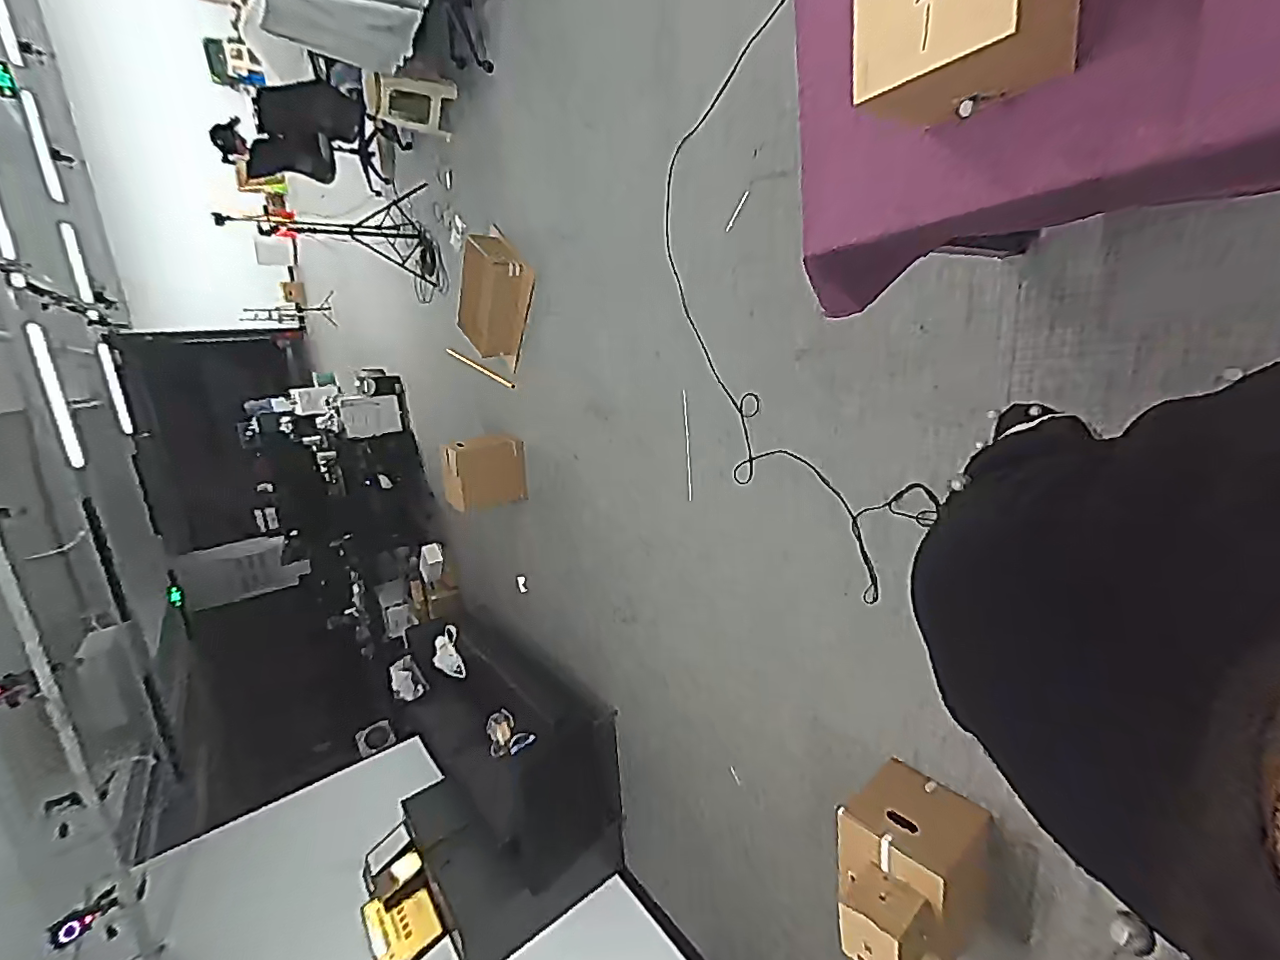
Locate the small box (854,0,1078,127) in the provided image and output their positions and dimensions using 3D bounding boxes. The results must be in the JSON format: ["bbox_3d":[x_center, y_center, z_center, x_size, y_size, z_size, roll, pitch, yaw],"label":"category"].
[{"bbox_3d":[0.358,-0.524,0.594,0.168,0.176,0.179,12,112,52],"label":"small box"}]

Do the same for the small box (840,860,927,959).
[{"bbox_3d":[0.672,1.209,1.490,0.168,0.176,0.179,6,107,51],"label":"small box"}]
